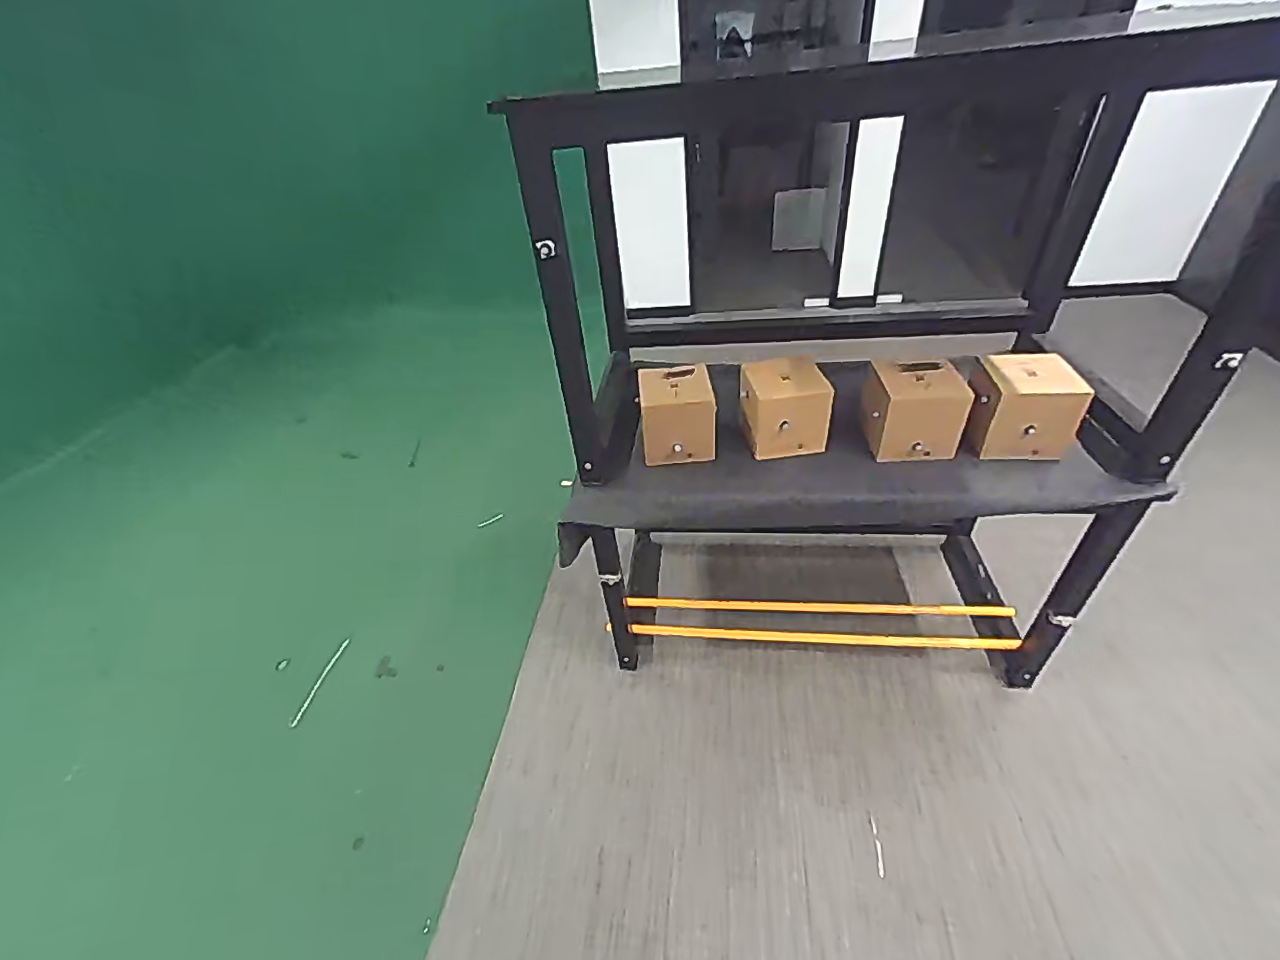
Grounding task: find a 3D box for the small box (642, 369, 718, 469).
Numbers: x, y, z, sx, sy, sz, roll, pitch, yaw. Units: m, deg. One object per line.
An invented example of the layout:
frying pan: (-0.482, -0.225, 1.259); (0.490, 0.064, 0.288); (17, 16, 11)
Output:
small box: (0.093, -0.147, 1.298); (0.168, 0.176, 0.179); (-6, 39, 2)
